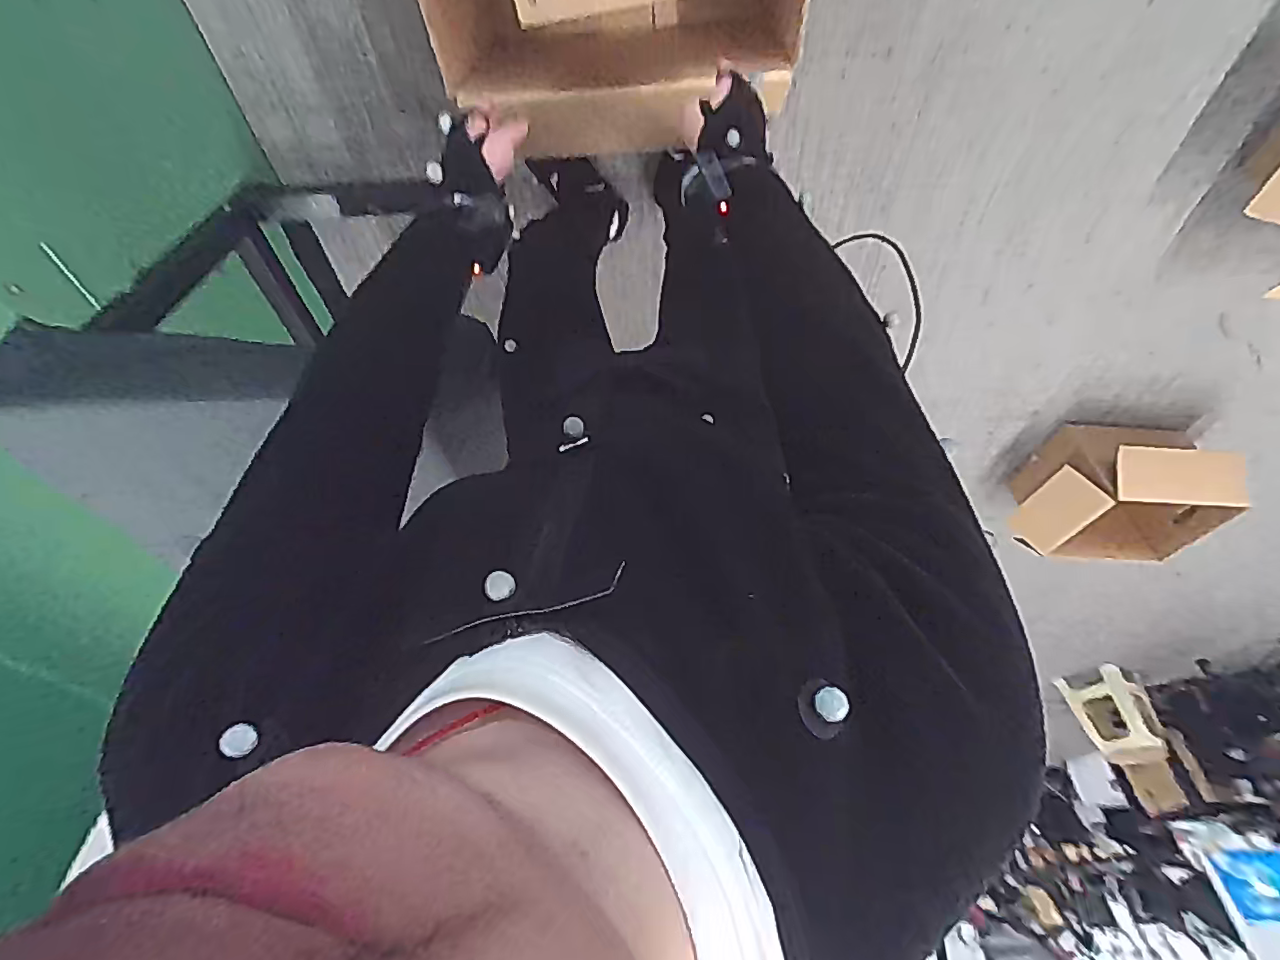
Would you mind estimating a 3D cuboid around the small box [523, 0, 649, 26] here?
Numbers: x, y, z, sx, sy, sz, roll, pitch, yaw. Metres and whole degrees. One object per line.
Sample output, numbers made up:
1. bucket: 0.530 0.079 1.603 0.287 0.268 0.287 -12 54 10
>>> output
1. small box: -0.050 -0.617 0.571 0.179 0.176 0.168 -6 138 9
